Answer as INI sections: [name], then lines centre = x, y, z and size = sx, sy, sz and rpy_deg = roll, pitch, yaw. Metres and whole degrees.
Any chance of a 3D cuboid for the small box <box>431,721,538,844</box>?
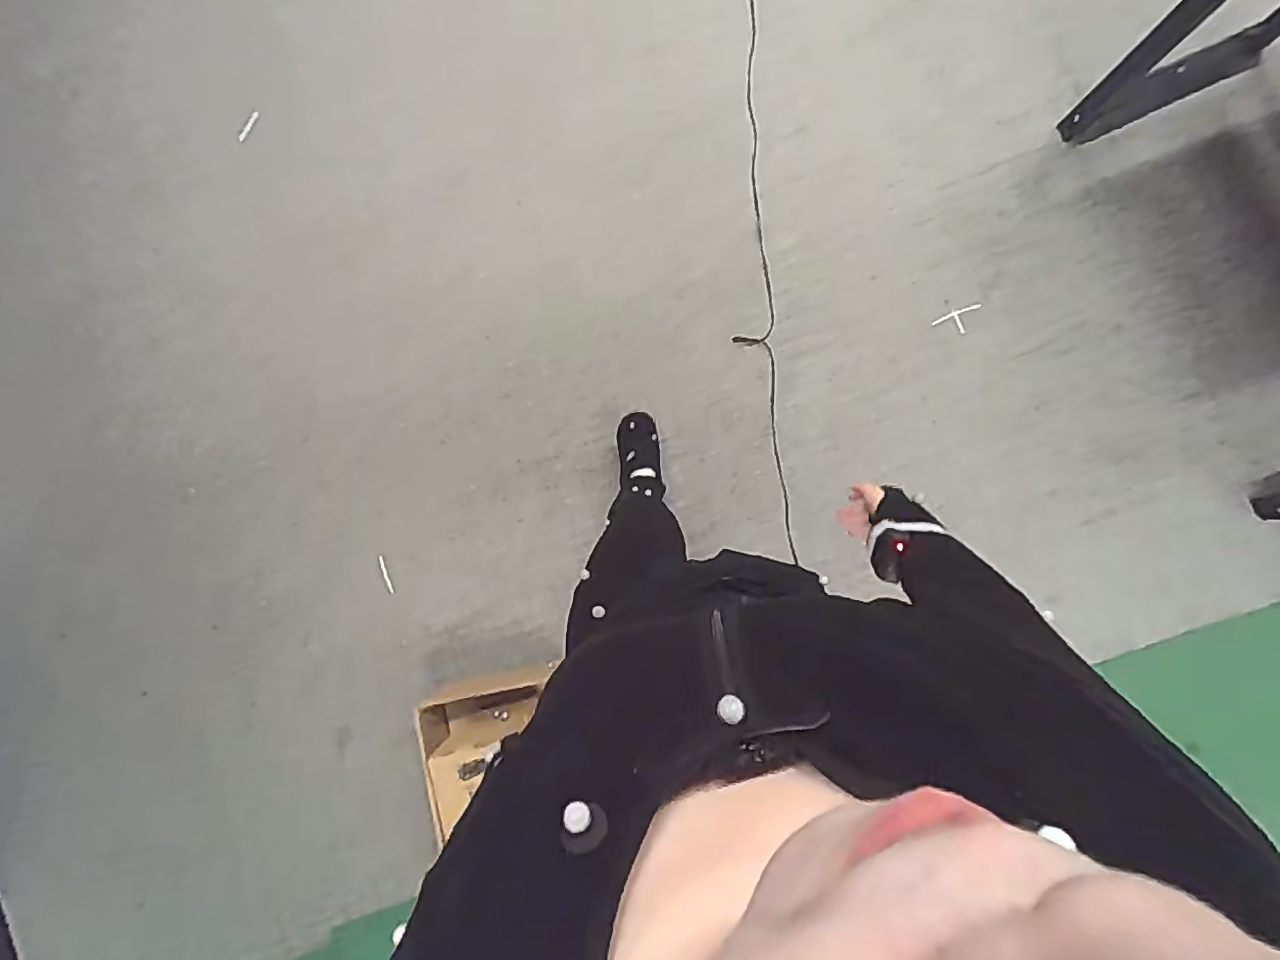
[small box]
centre = -0.339, 0.659, 1.205
size = 0.168, 0.176, 0.179
rpy_deg = -14, 88, 2
